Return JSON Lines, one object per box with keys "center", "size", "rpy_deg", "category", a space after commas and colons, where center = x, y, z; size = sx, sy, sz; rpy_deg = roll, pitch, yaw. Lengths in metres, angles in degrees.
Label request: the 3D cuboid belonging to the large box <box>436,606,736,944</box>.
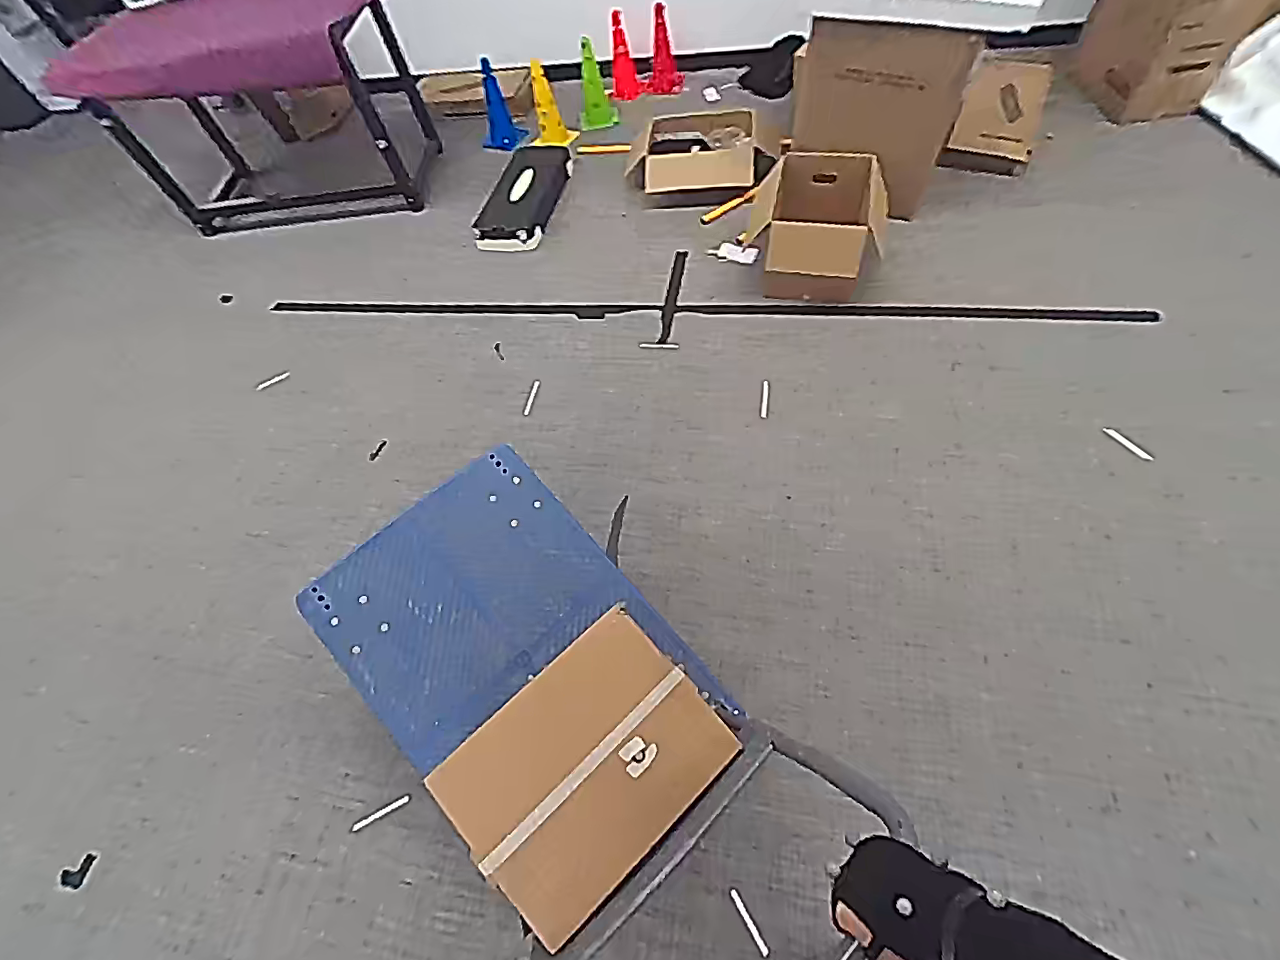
{"center": [-0.094, 0.504, 1.016], "size": [0.408, 0.320, 0.320], "rpy_deg": [-41, 80, -18], "category": "large box"}
